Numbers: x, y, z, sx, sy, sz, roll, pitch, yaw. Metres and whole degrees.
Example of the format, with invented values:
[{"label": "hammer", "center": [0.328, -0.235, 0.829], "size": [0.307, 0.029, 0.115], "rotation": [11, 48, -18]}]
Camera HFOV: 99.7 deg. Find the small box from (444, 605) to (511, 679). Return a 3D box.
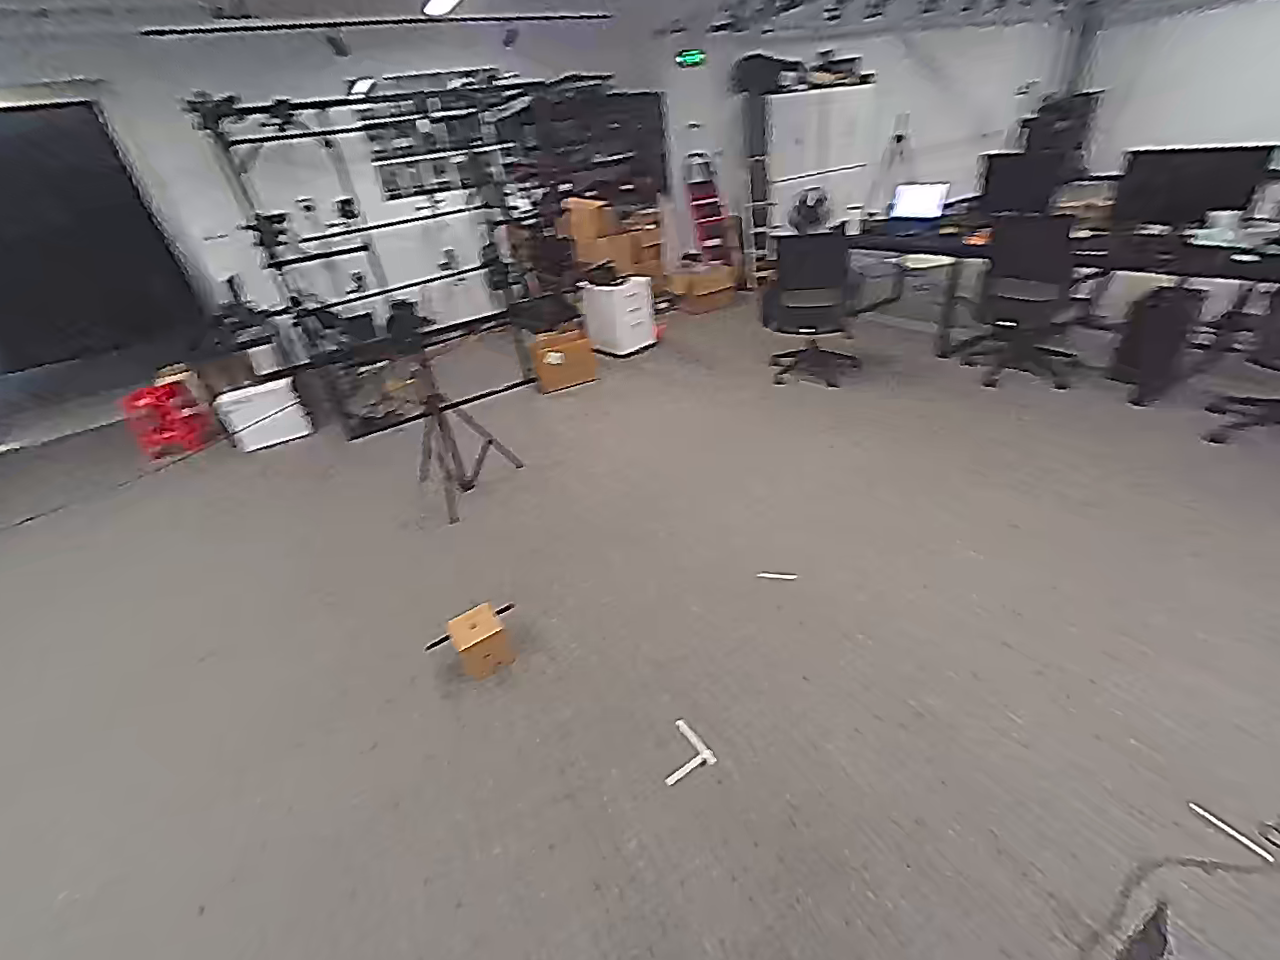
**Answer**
[{"label": "small box", "center": [-0.594, 0.603, 1.989], "size": [0.168, 0.176, 0.179], "rotation": [-25, 34, -25]}]
